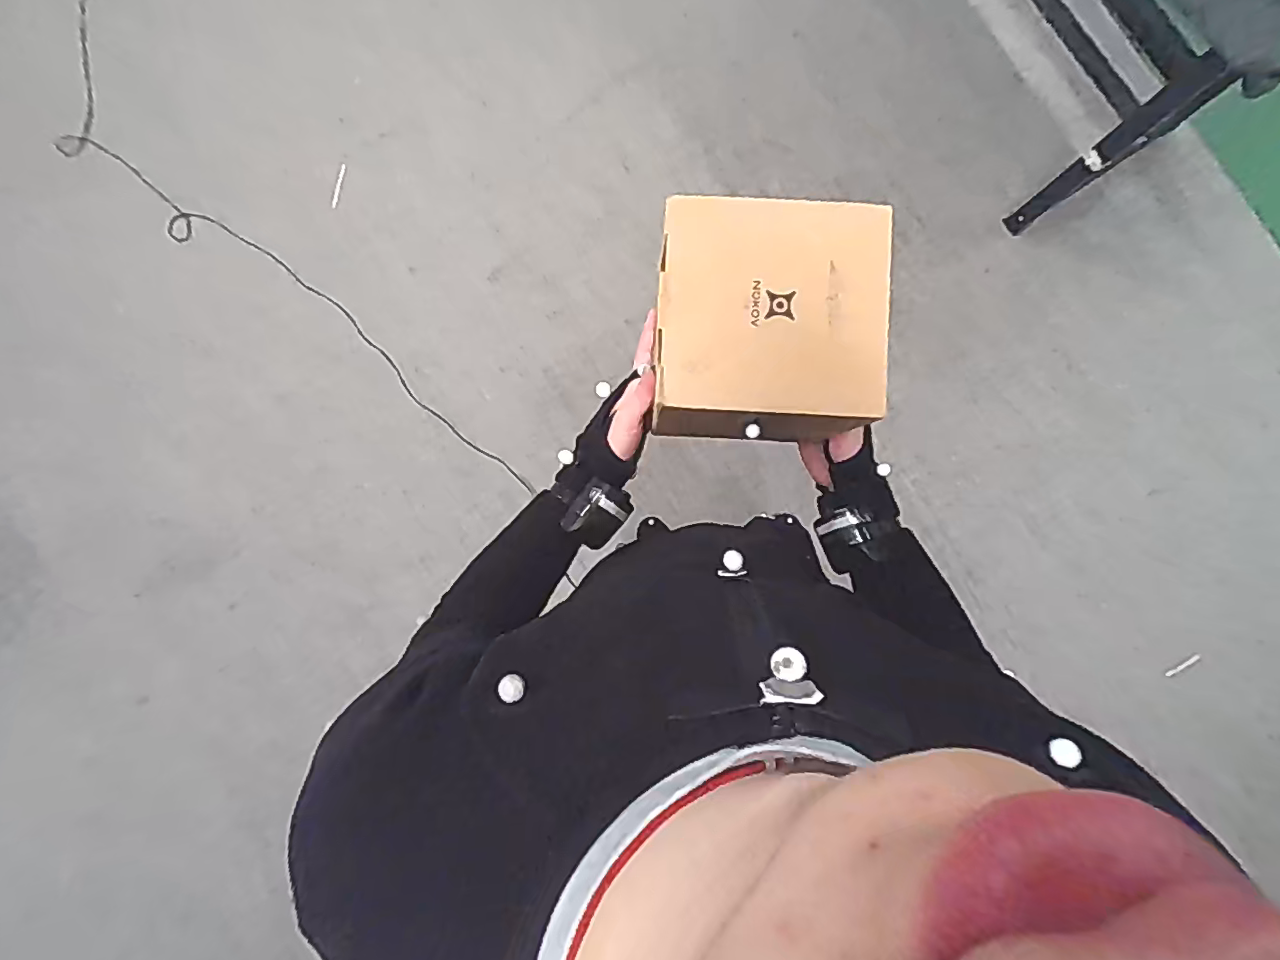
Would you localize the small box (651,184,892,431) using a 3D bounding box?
[{"bbox_3d":[0.100,-0.136,0.485,0.179,0.176,0.168,2,89,-1],"label":"small box"}]
